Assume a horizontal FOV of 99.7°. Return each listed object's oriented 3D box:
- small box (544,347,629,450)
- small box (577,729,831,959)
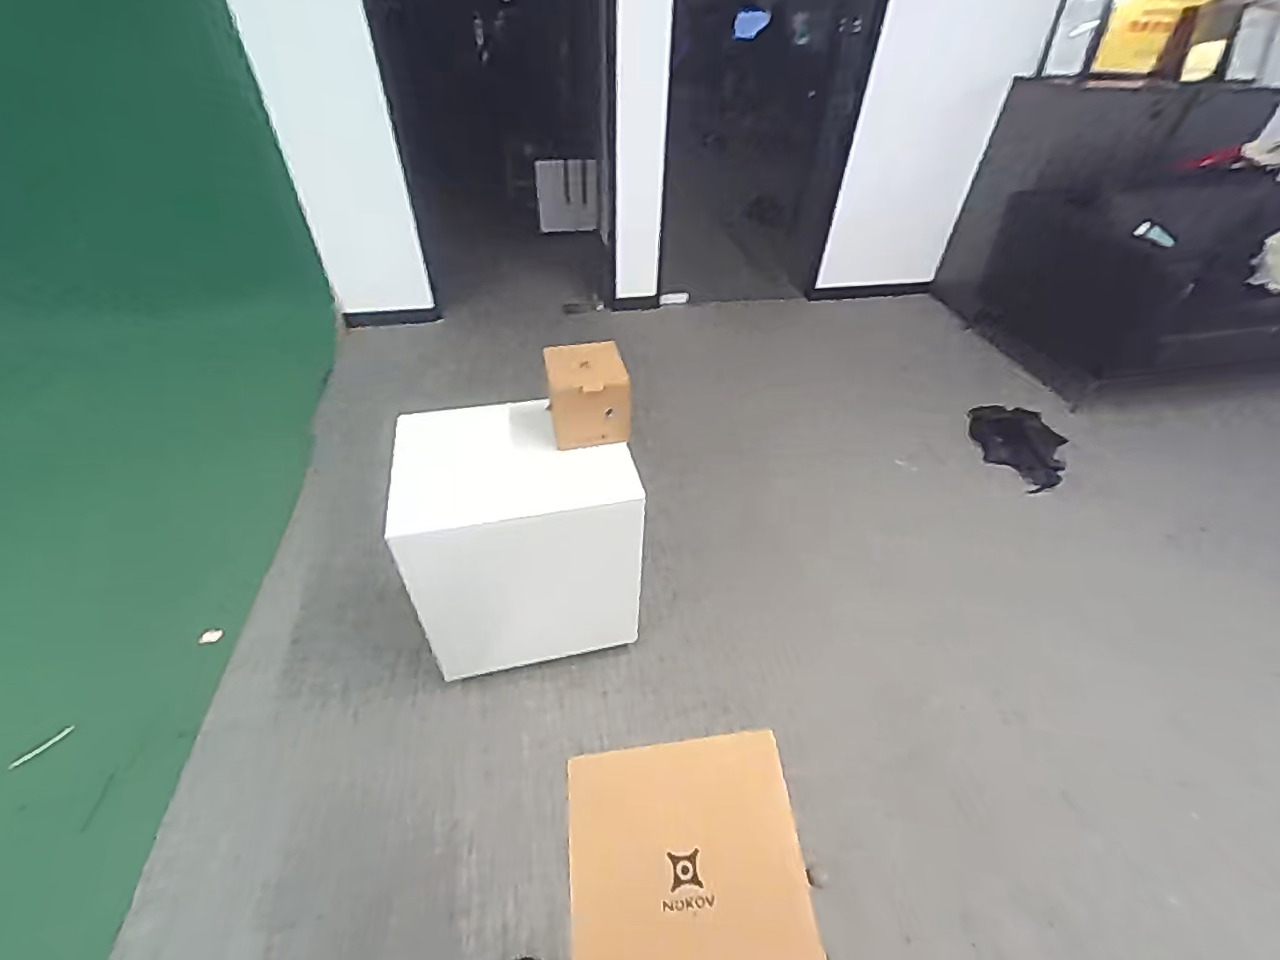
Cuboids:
[{"bbox_3d":[-0.121,-0.182,1.232,0.168,0.176,0.179,-8,43,-12],"label":"small box"},{"bbox_3d":[0.046,0.320,0.439,0.168,0.176,0.179,-9,54,3],"label":"small box"}]
